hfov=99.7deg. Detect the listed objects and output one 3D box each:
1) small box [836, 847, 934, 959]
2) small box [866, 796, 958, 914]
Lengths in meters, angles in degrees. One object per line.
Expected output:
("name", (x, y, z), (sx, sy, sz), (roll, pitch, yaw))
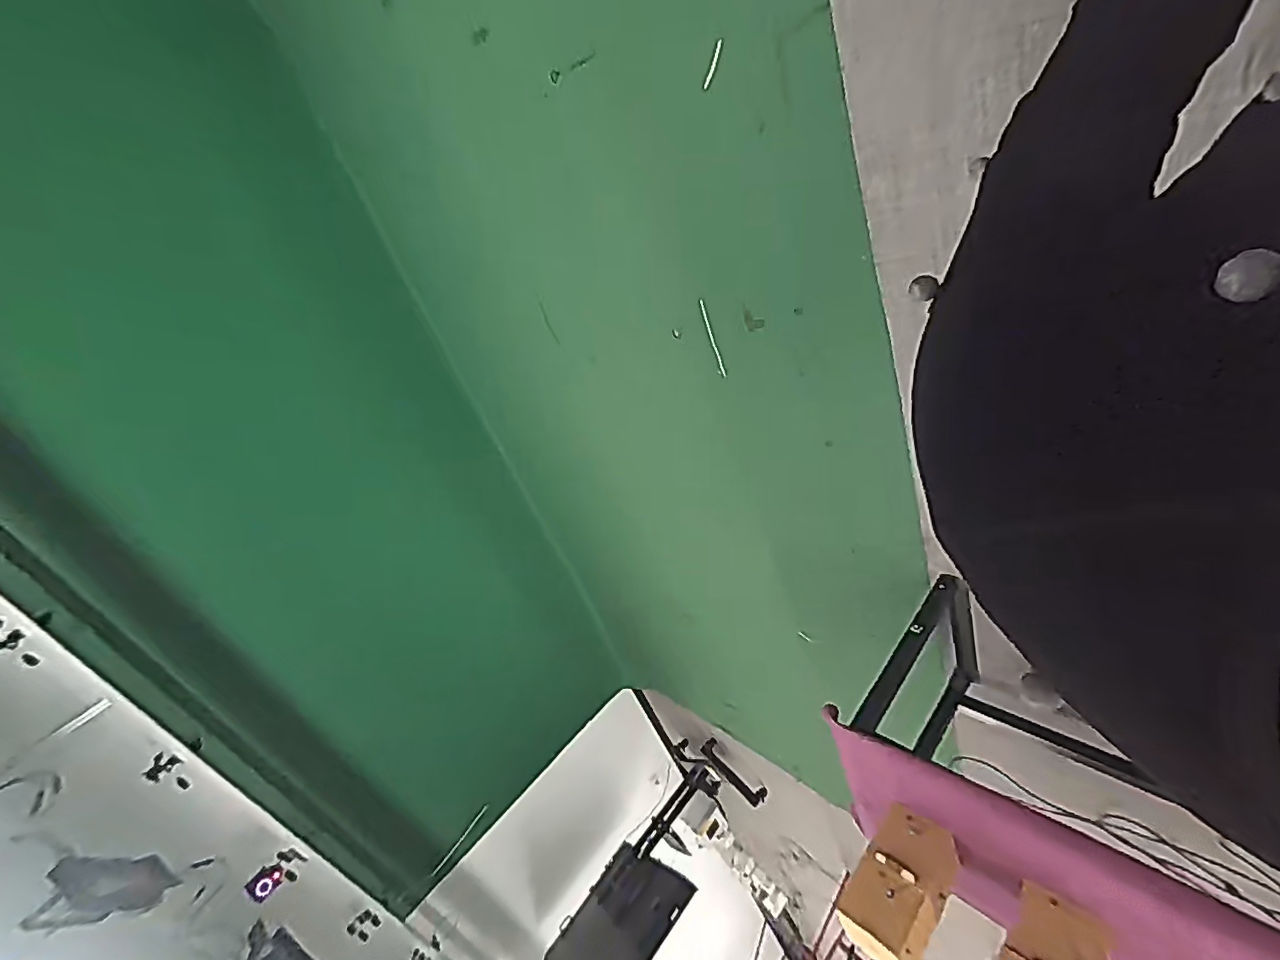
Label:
("small box", (0.647, 1.123, 1.417), (0.168, 0.176, 0.179), (9, 131, 49))
("small box", (0.755, 1.027, 1.492), (0.168, 0.176, 0.179), (8, 131, 49))
